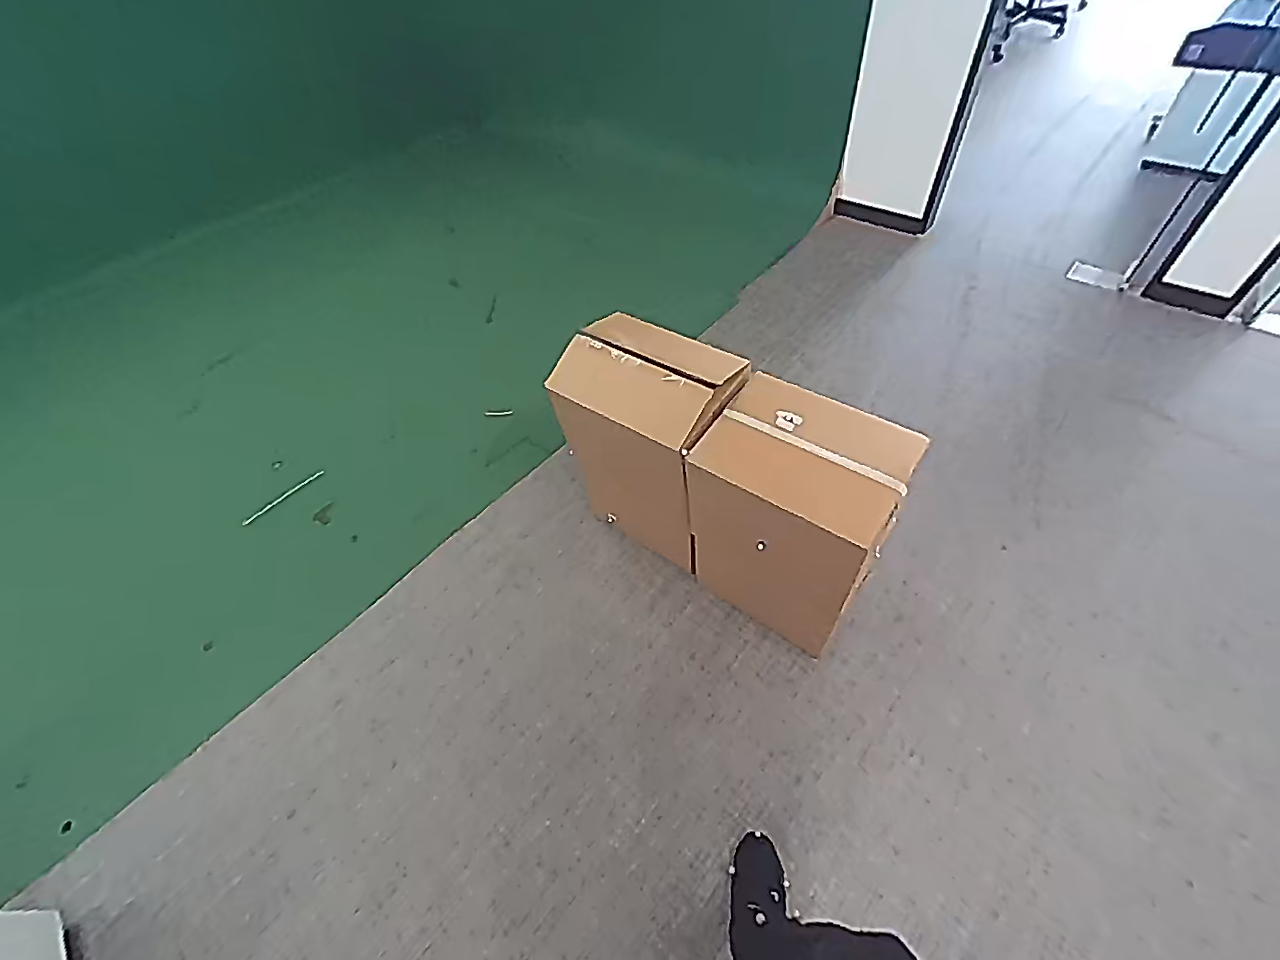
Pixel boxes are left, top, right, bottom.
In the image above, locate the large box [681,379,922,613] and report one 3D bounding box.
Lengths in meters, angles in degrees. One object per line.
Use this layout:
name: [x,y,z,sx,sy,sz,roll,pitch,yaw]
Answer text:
large box: [0.353,0.034,1.239,0.408,0.320,0.320,27,61,27]
